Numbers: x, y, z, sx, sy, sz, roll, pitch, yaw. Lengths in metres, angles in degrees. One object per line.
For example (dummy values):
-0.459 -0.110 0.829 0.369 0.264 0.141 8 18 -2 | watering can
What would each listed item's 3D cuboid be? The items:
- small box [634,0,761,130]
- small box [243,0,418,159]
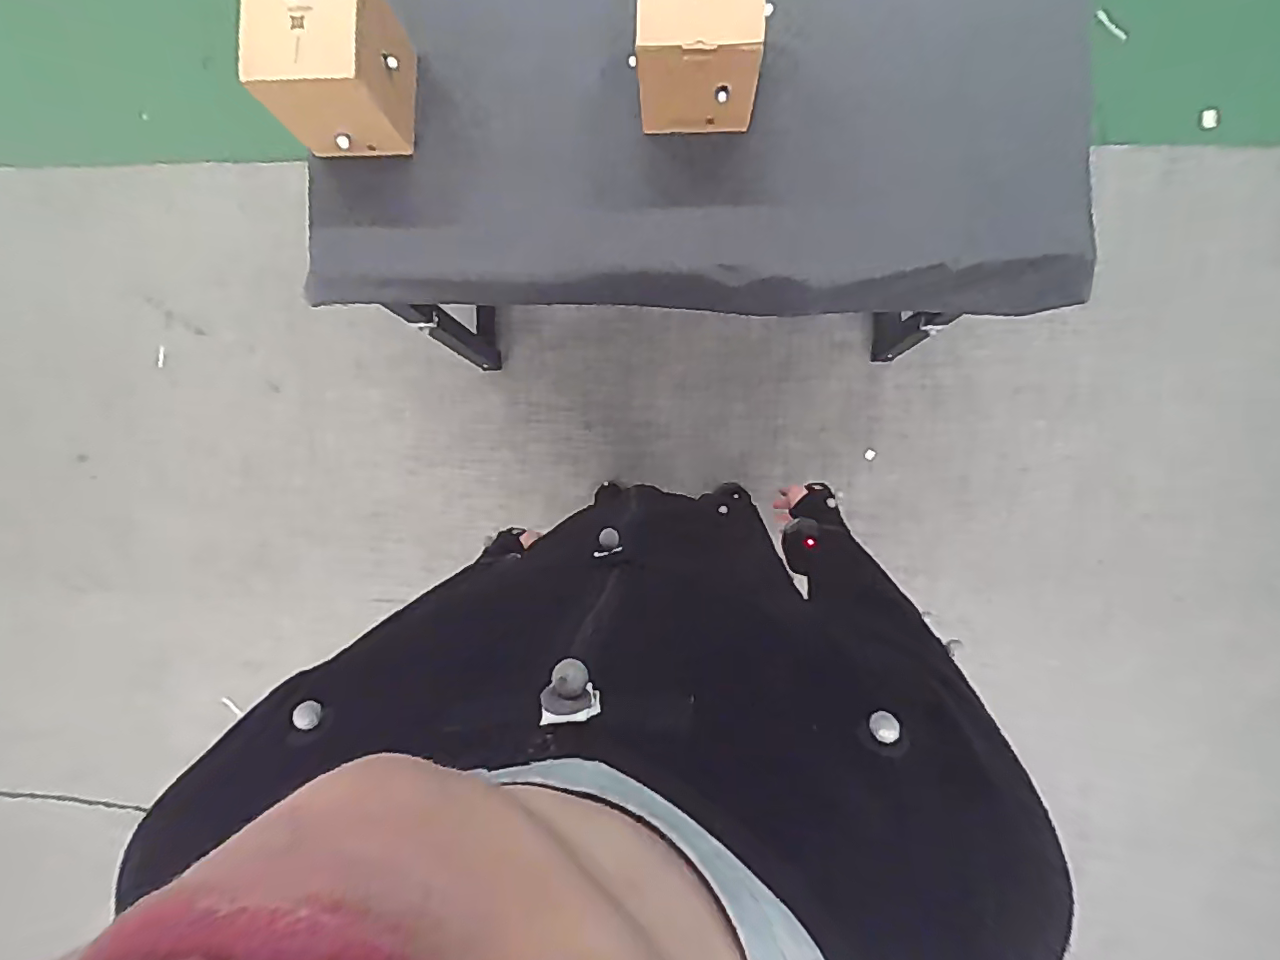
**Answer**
0.080 -0.639 0.780 0.168 0.176 0.179 1 88 3 | small box
-0.450 -0.617 0.809 0.168 0.176 0.179 1 90 3 | small box
